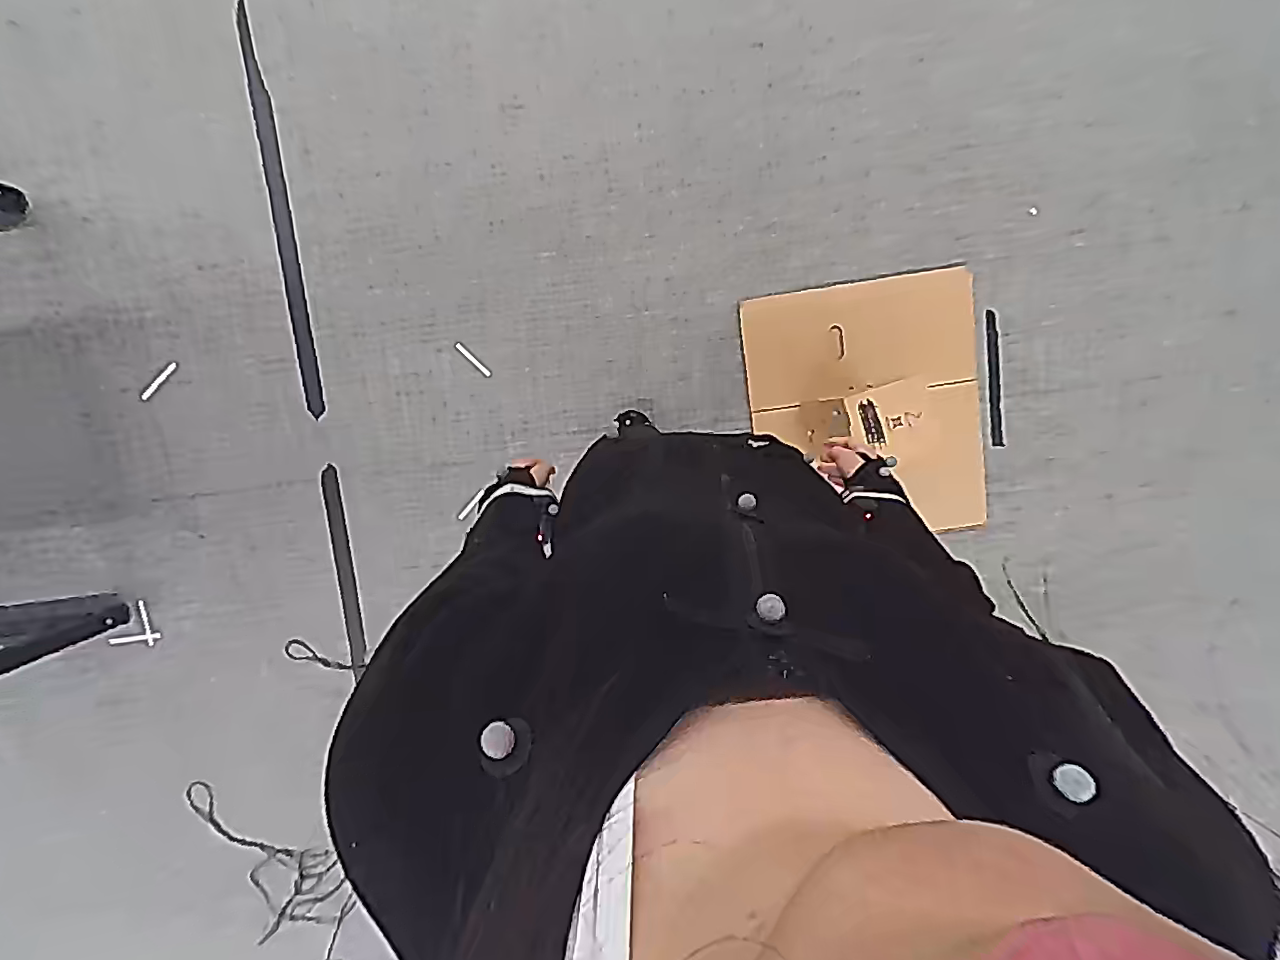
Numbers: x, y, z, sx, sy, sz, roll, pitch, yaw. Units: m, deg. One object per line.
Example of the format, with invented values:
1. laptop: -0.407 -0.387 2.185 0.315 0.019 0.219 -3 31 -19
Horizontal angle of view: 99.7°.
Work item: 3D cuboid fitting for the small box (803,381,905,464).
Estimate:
1. small box: 0.536 -0.147 1.372 0.179 0.176 0.168 -16 95 4
